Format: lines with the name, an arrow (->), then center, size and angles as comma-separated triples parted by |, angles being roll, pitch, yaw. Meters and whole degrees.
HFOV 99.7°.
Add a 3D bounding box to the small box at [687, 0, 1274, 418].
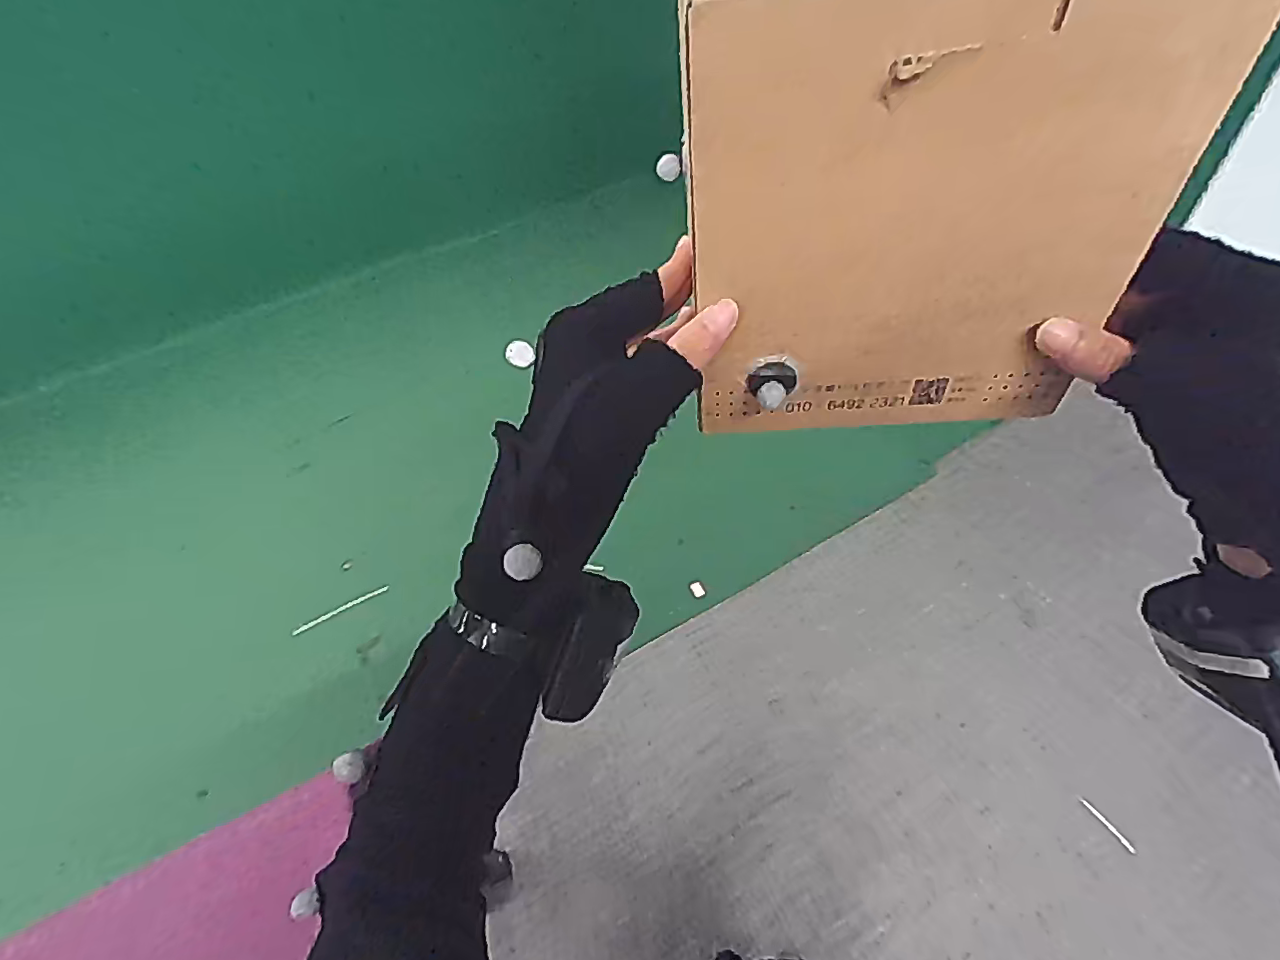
small box -> 0.109, -0.141, 0.257 | 0.168, 0.176, 0.179 | -2, 46, 6
